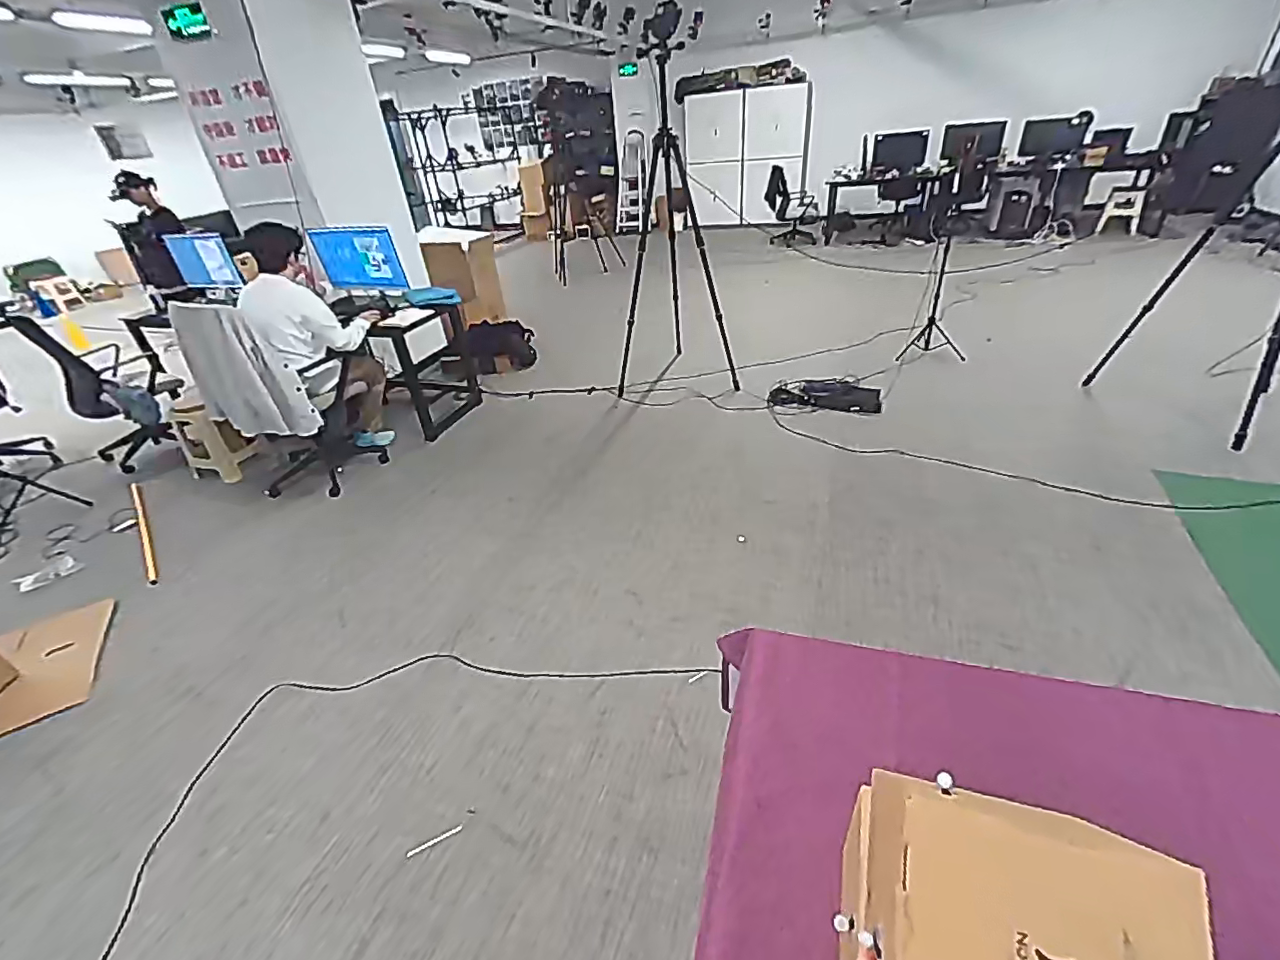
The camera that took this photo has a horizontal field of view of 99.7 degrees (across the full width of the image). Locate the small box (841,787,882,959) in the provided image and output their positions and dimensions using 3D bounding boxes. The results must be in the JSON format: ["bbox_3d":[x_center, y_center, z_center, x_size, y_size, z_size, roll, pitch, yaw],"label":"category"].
[{"bbox_3d":[0.309,0.471,0.565,0.168,0.176,0.179,7,35,19],"label":"small box"}]

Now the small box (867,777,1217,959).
[{"bbox_3d":[0.279,0.342,0.412,0.179,0.176,0.168,7,71,17],"label":"small box"}]
